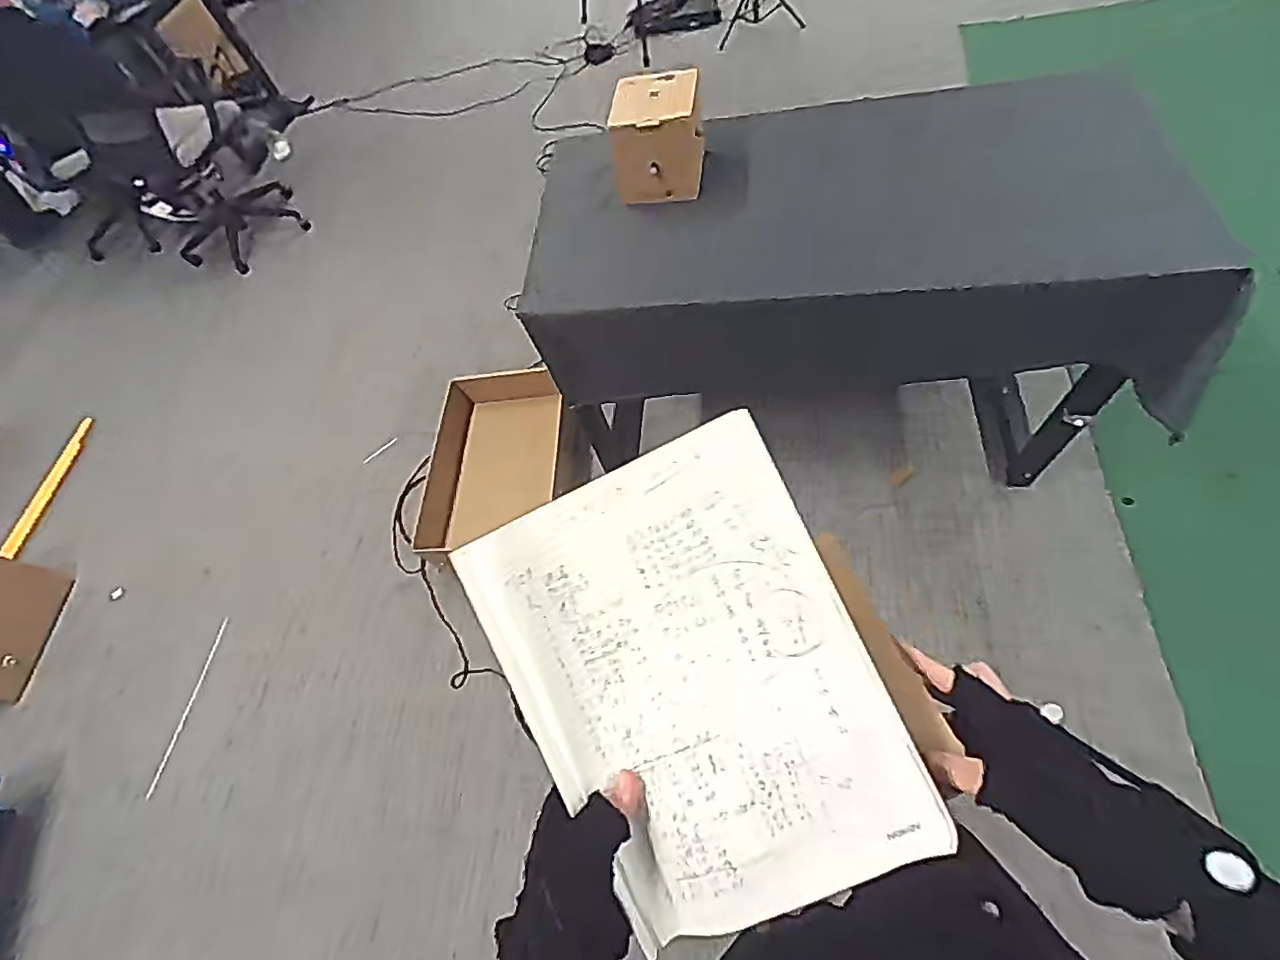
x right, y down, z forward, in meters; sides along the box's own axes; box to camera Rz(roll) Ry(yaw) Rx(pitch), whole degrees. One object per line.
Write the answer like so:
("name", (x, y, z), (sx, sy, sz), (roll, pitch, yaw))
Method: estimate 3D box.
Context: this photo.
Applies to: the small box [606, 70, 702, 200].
("small box", (0.037, -0.708, 1.127), (0.168, 0.176, 0.179), (2, 63, 12))
